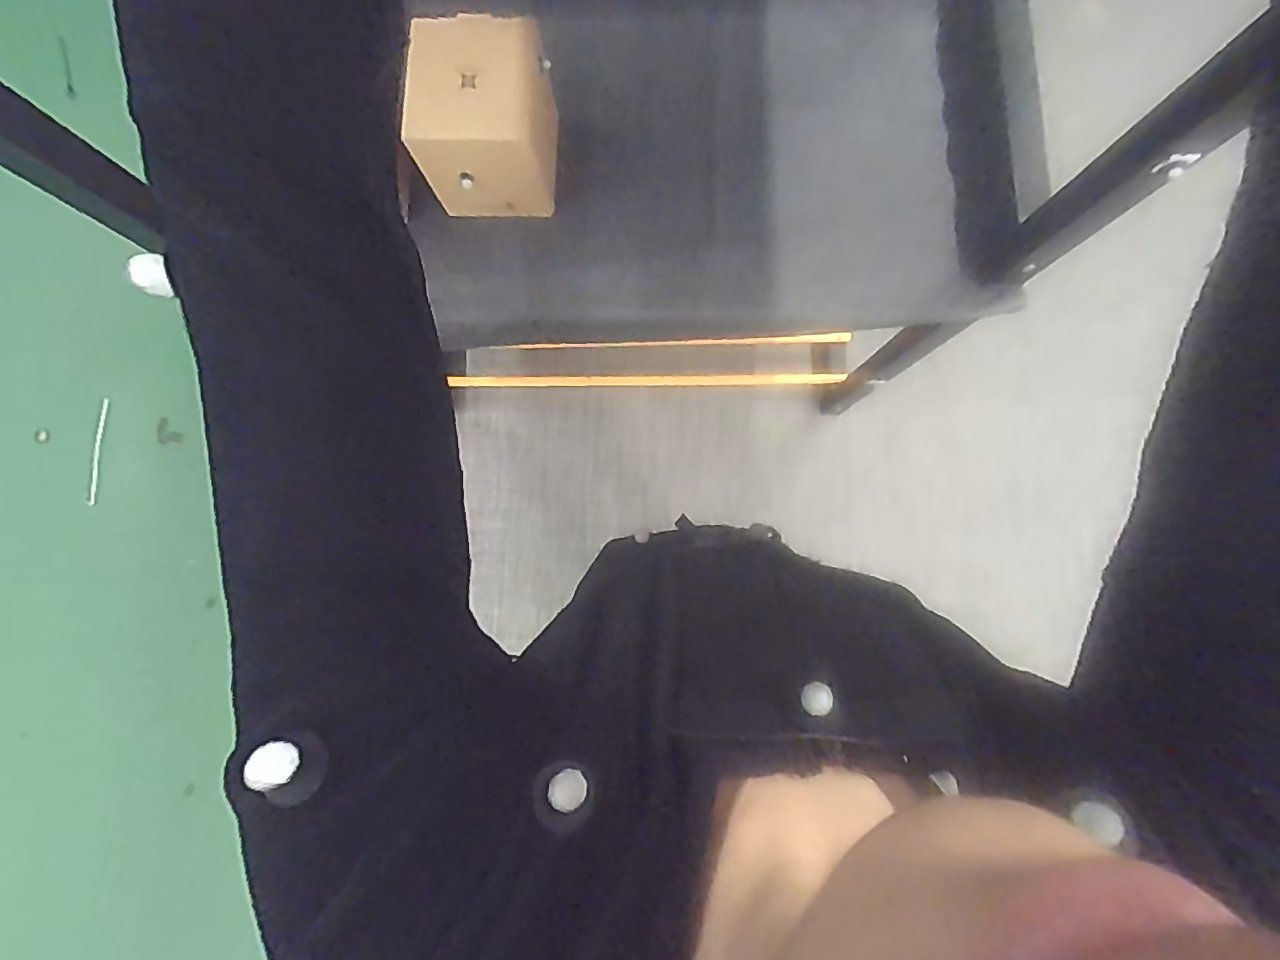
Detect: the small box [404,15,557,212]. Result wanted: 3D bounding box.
[{"bbox_3d":[-0.216,-0.509,0.774,0.168,0.176,0.179,1,83,1],"label":"small box"}]
